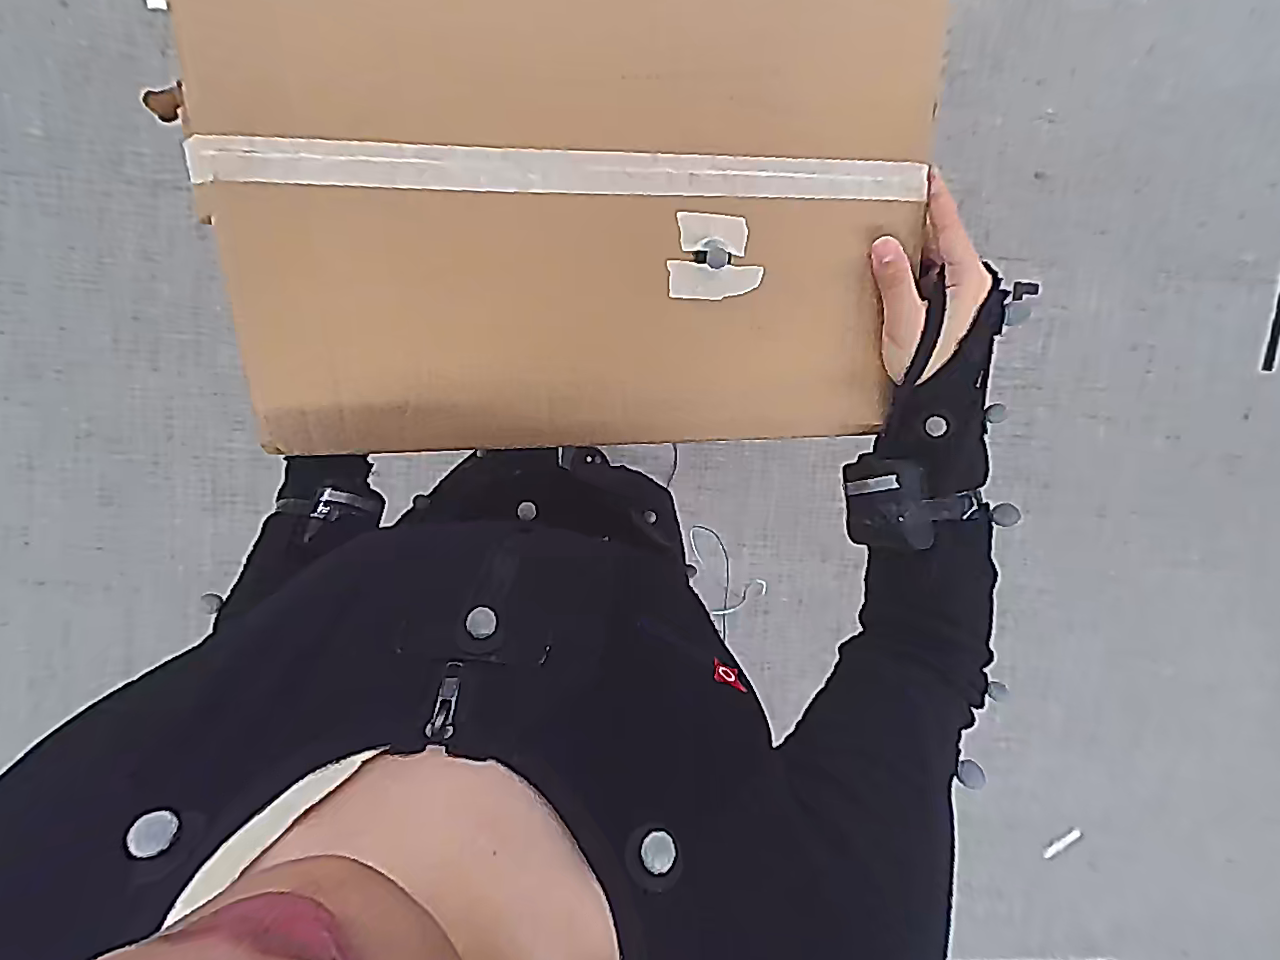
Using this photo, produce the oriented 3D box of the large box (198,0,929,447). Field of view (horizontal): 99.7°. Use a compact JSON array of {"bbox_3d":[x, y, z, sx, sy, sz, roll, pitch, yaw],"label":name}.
[{"bbox_3d":[-0.048,-0.220,0.458,0.408,0.320,0.320,-3,107,-9],"label":"large box"}]
